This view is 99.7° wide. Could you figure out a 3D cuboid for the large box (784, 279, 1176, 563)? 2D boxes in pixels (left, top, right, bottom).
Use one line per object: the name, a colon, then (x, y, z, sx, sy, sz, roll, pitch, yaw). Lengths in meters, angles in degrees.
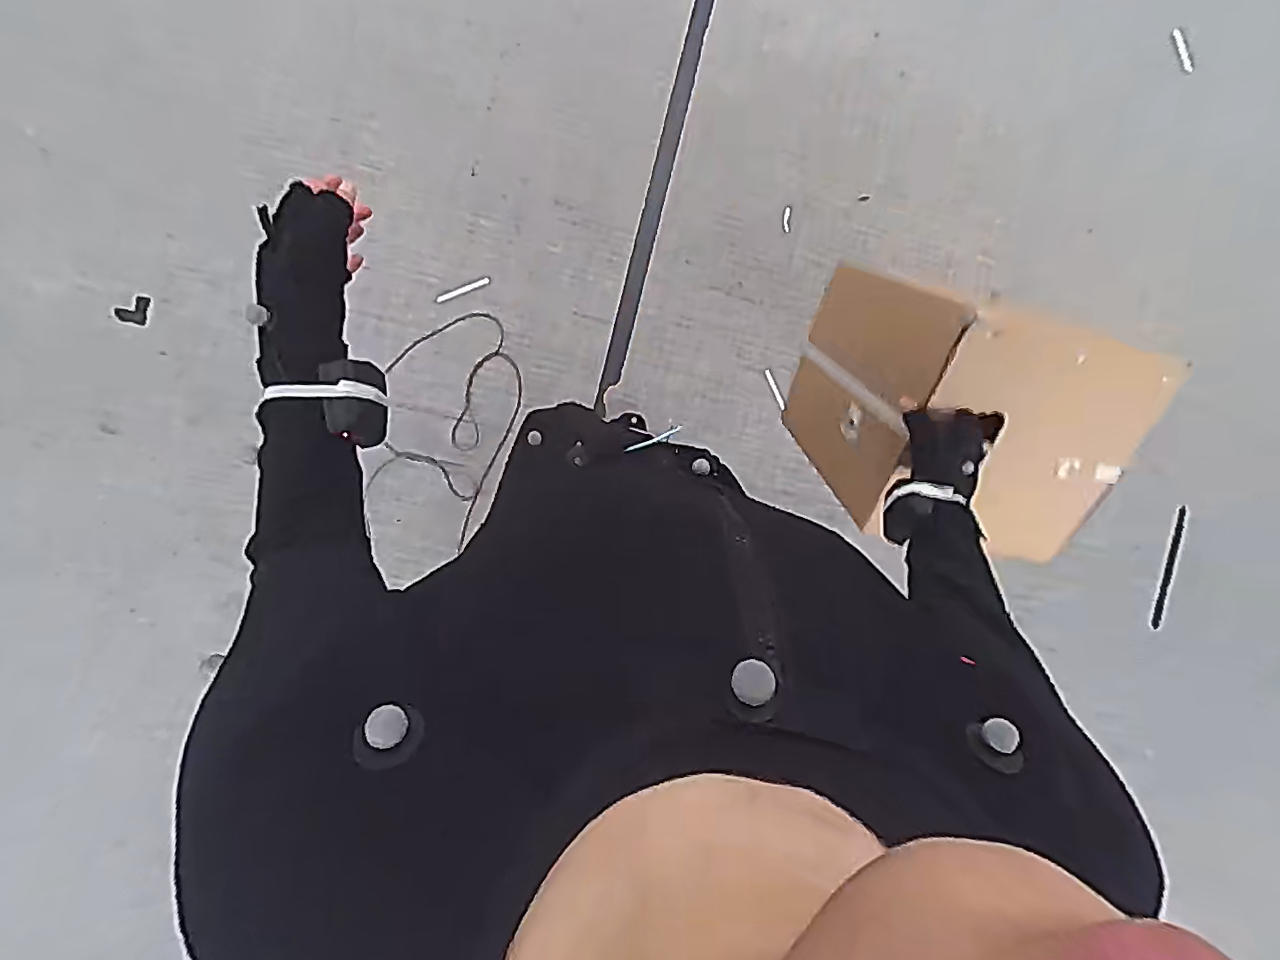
large box: (0.487, -0.118, 0.891, 0.320, 0.408, 0.320, 9, 116, -8)
